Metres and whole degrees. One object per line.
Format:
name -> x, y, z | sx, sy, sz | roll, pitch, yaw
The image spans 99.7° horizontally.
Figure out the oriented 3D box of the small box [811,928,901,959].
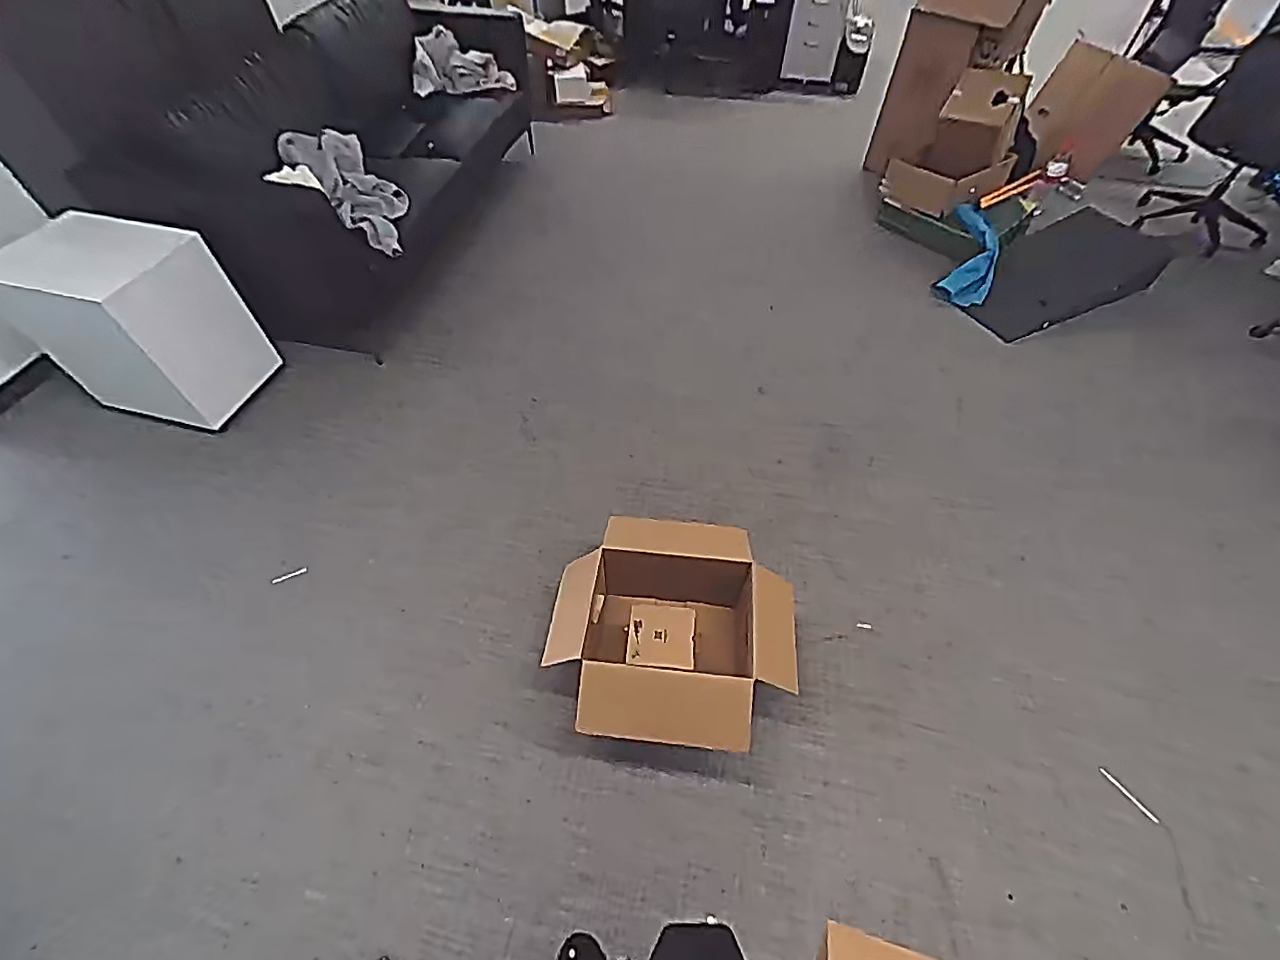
small box -> 0.280, 0.708, 0.639 | 0.168, 0.176, 0.179 | 12, 14, 15
